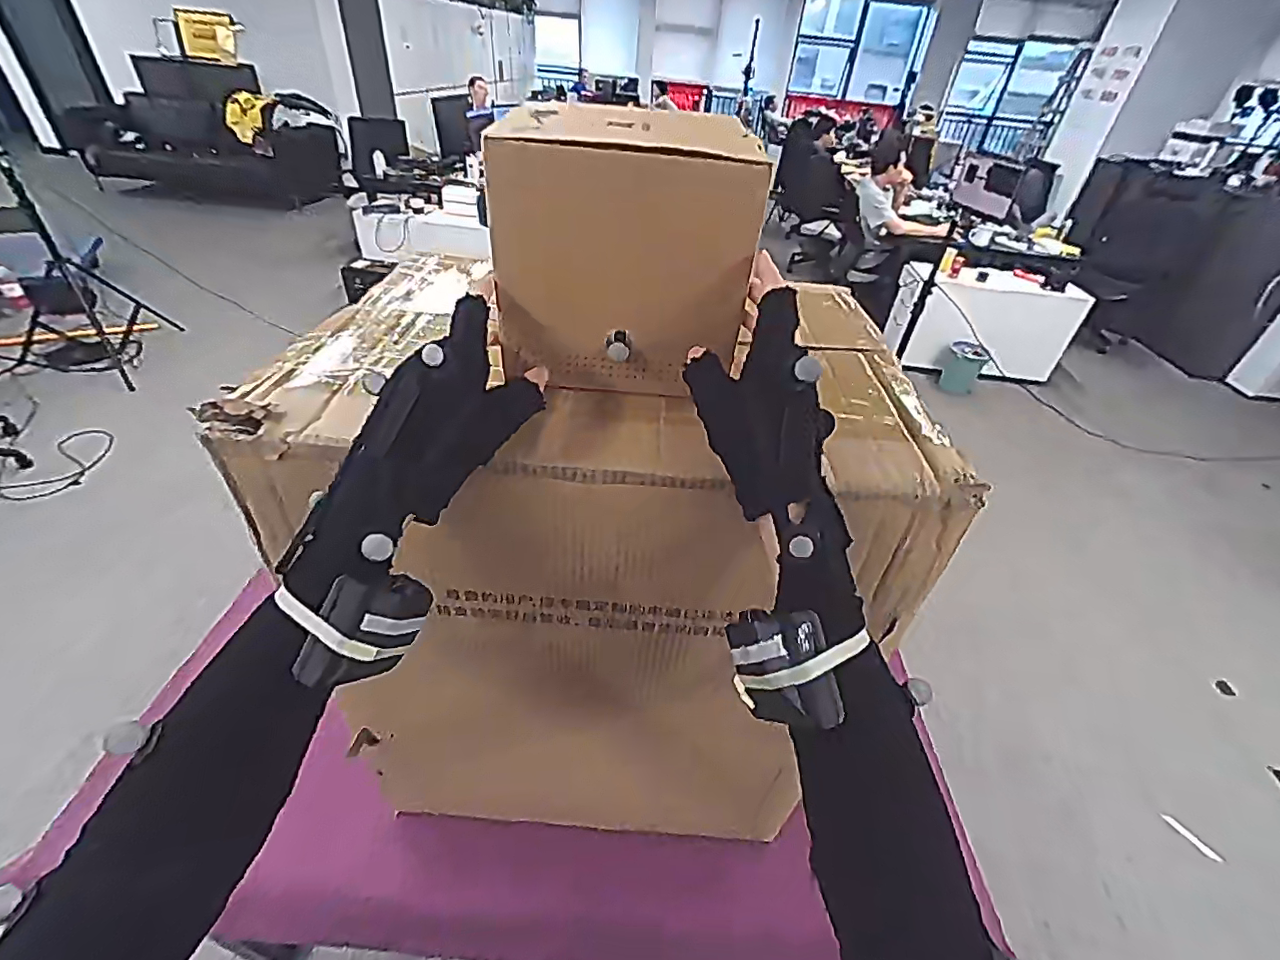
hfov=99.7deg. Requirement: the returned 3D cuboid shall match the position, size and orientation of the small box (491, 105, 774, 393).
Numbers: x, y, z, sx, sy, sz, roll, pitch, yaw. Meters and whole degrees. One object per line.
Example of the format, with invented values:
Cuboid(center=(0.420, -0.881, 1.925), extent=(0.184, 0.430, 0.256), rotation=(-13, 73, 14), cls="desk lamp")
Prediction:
Cuboid(center=(-0.010, -0.184, 0.437), extent=(0.179, 0.176, 0.168), rotation=(4, 39, -3), cls="small box")
